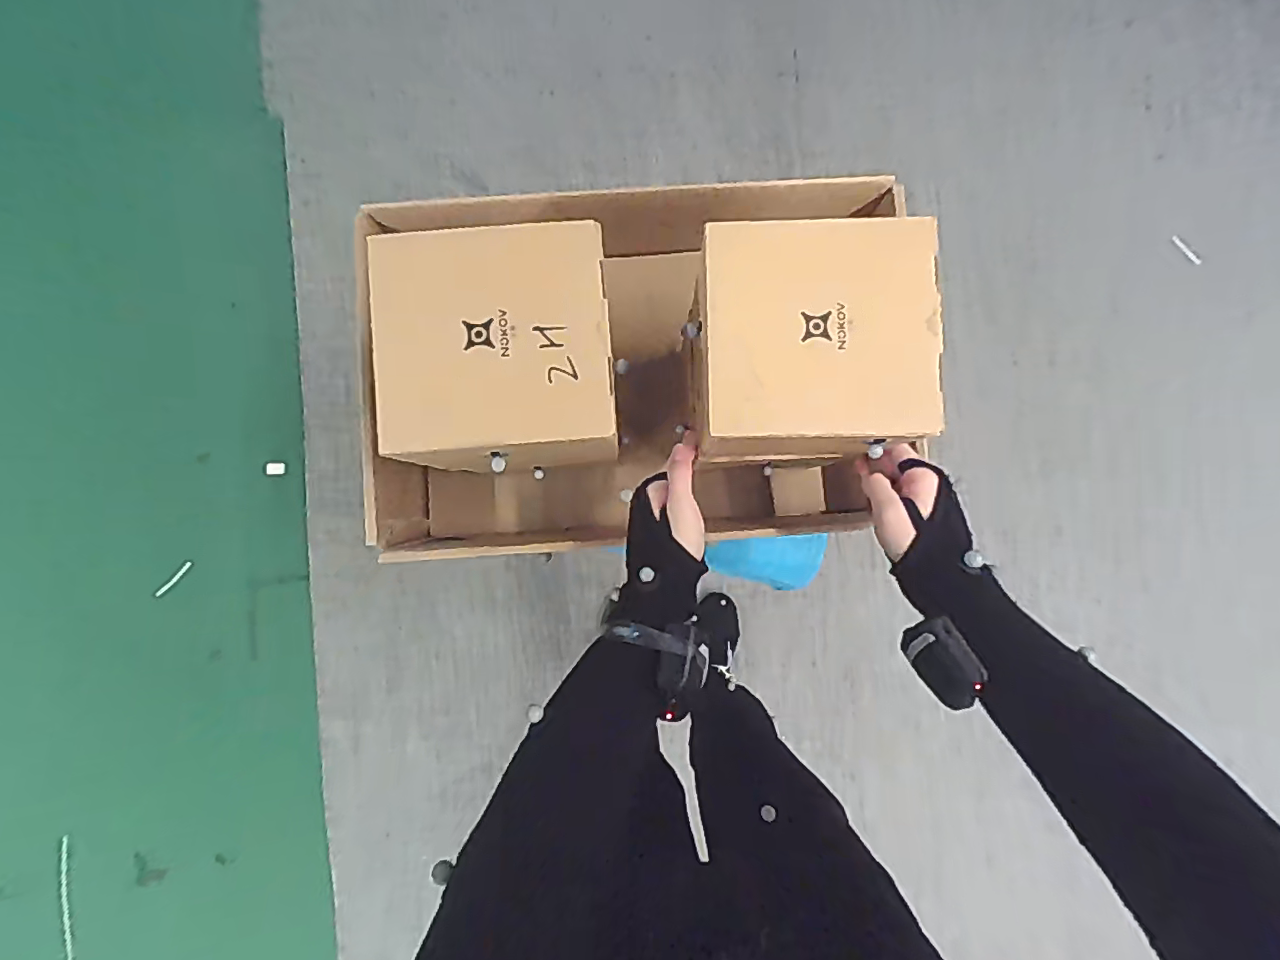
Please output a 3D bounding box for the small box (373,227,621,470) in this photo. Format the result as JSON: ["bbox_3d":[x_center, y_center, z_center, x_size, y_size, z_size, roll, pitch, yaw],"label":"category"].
[{"bbox_3d":[-0.110,-0.100,0.481,0.179,0.176,0.168,-4,87,-2],"label":"small box"}]

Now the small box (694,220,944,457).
[{"bbox_3d":[0.139,-0.109,0.484,0.179,0.176,0.168,-1,88,1],"label":"small box"}]
